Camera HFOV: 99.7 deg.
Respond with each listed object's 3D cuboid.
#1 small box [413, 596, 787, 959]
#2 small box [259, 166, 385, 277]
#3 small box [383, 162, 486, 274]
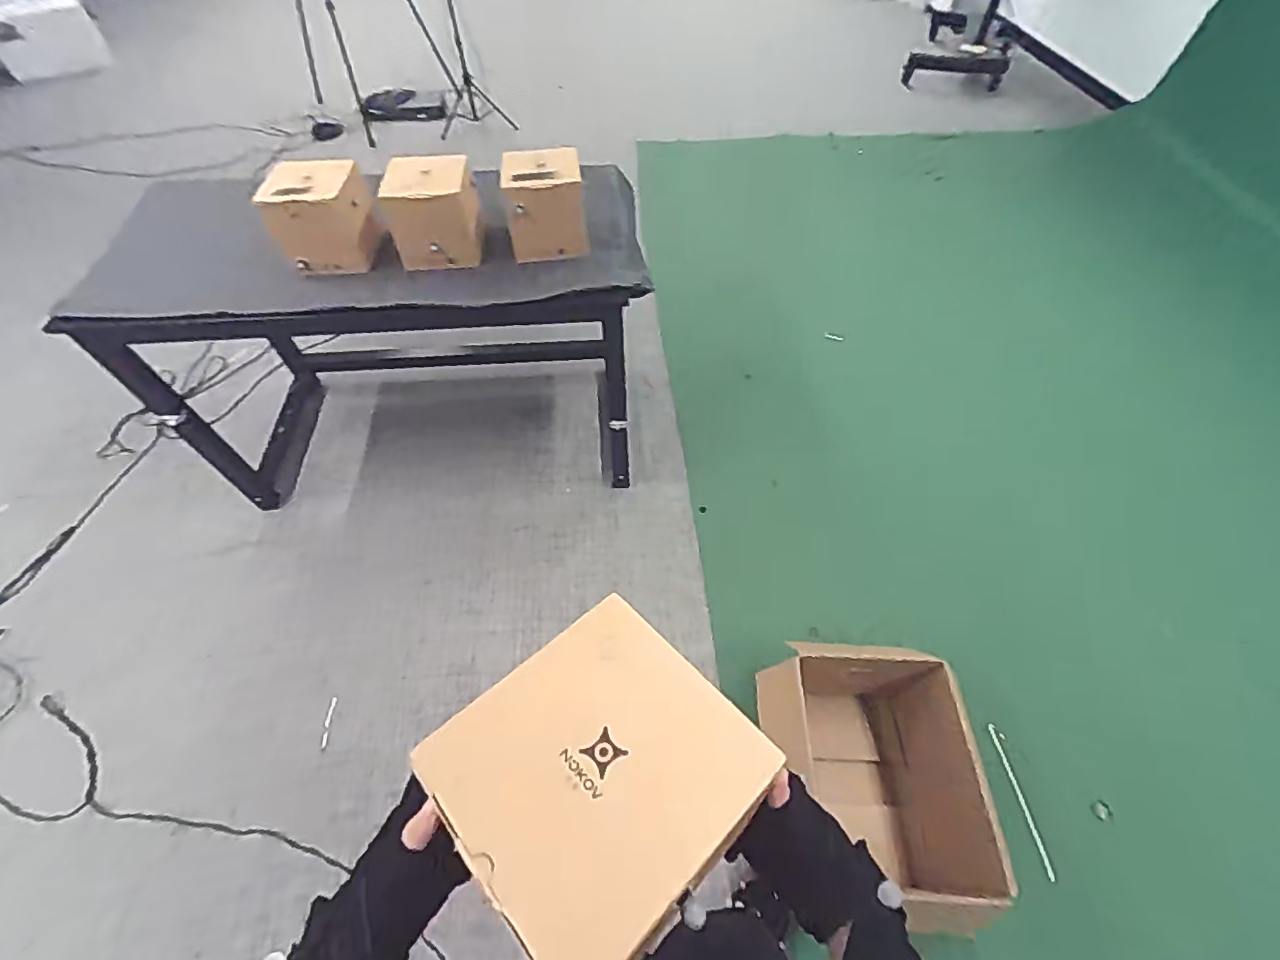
[{"bbox_3d":[-0.025,0.227,0.392,0.179,0.176,0.168,-36,57,-29],"label":"small box"},{"bbox_3d":[-0.690,-0.568,1.200,0.168,0.176,0.179,-3,53,-2],"label":"small box"},{"bbox_3d":[-0.449,-0.585,1.212,0.168,0.176,0.179,-5,54,-3],"label":"small box"}]
